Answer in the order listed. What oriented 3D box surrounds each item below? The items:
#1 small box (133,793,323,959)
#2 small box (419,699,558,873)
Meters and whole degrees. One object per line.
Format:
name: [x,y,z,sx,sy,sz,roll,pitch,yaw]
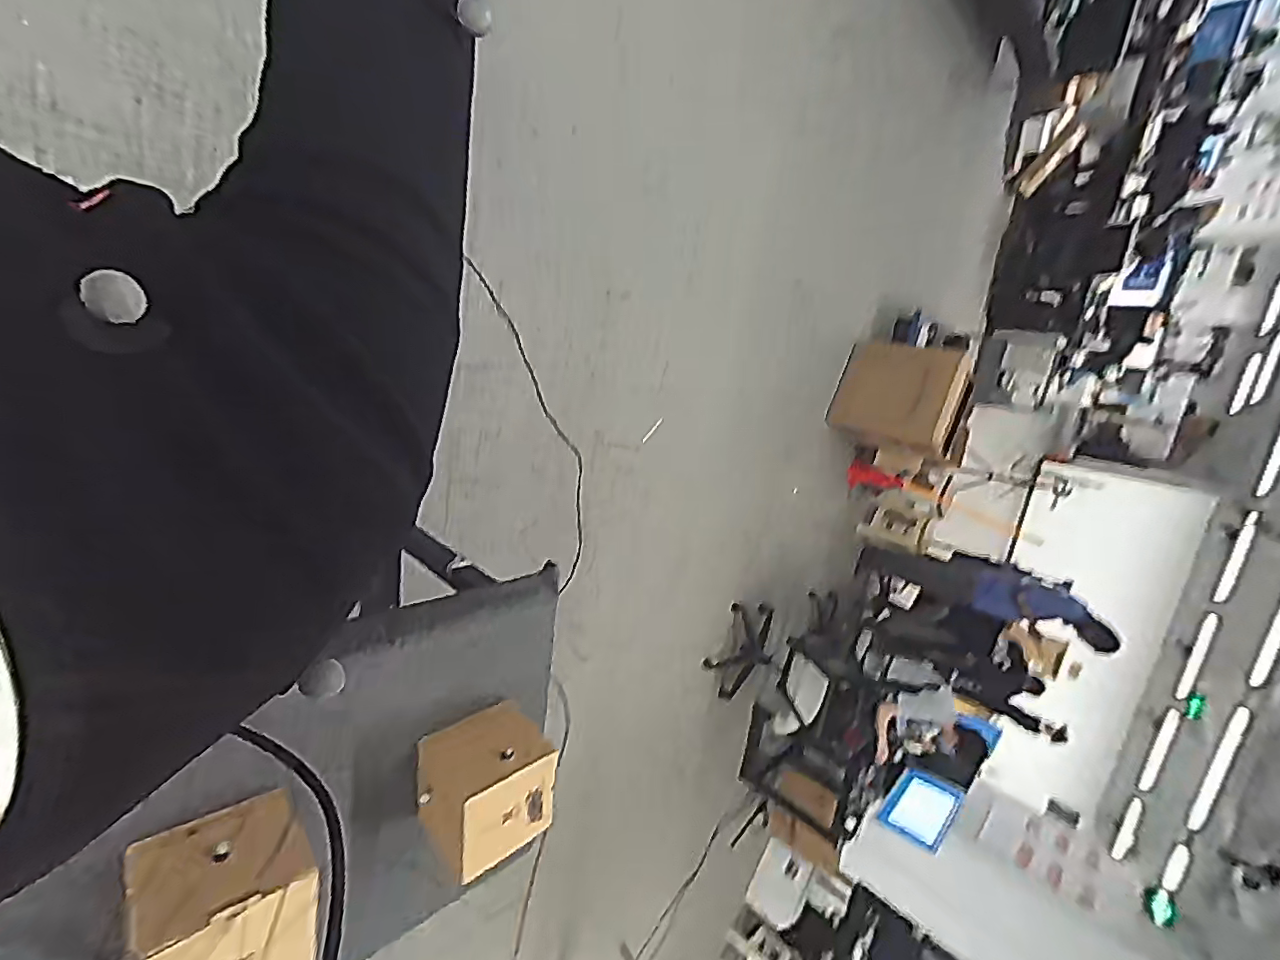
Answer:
small box: [-0.523,0.538,0.686,0.168,0.176,0.179,-4,107,-47]
small box: [-0.268,0.522,0.954,0.179,0.176,0.168,-9,111,-44]
